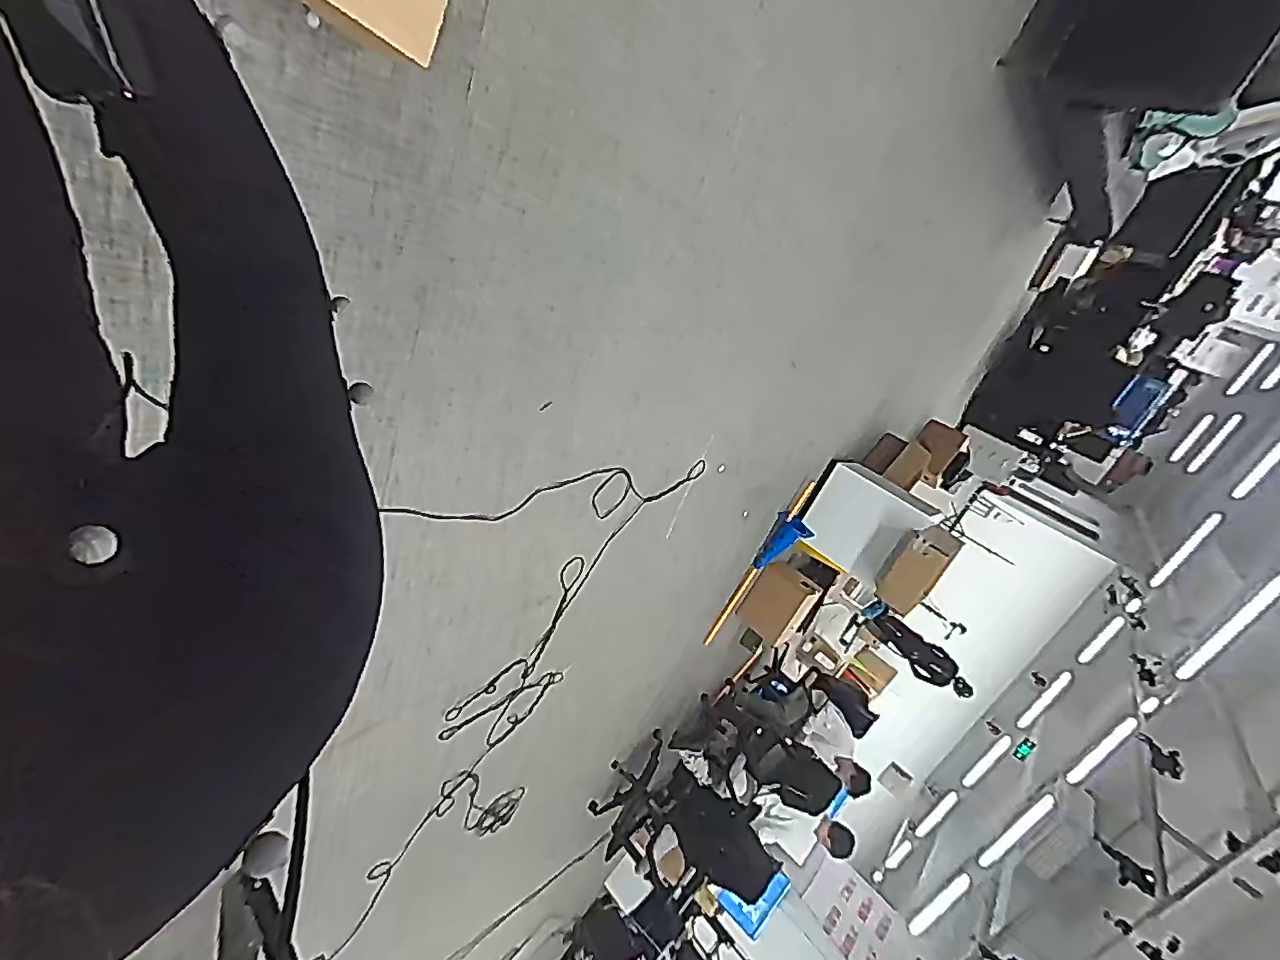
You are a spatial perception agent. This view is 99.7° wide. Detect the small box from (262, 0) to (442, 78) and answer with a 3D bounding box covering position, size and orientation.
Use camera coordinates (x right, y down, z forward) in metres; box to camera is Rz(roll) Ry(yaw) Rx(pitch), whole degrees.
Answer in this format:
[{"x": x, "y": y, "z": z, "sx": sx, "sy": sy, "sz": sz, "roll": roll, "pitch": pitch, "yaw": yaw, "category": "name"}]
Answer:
[{"x": -0.335, "y": -0.601, "z": 0.604, "sx": 0.168, "sy": 0.176, "sz": 0.179, "roll": 0, "pitch": 121, "yaw": -54, "category": "small box"}]
